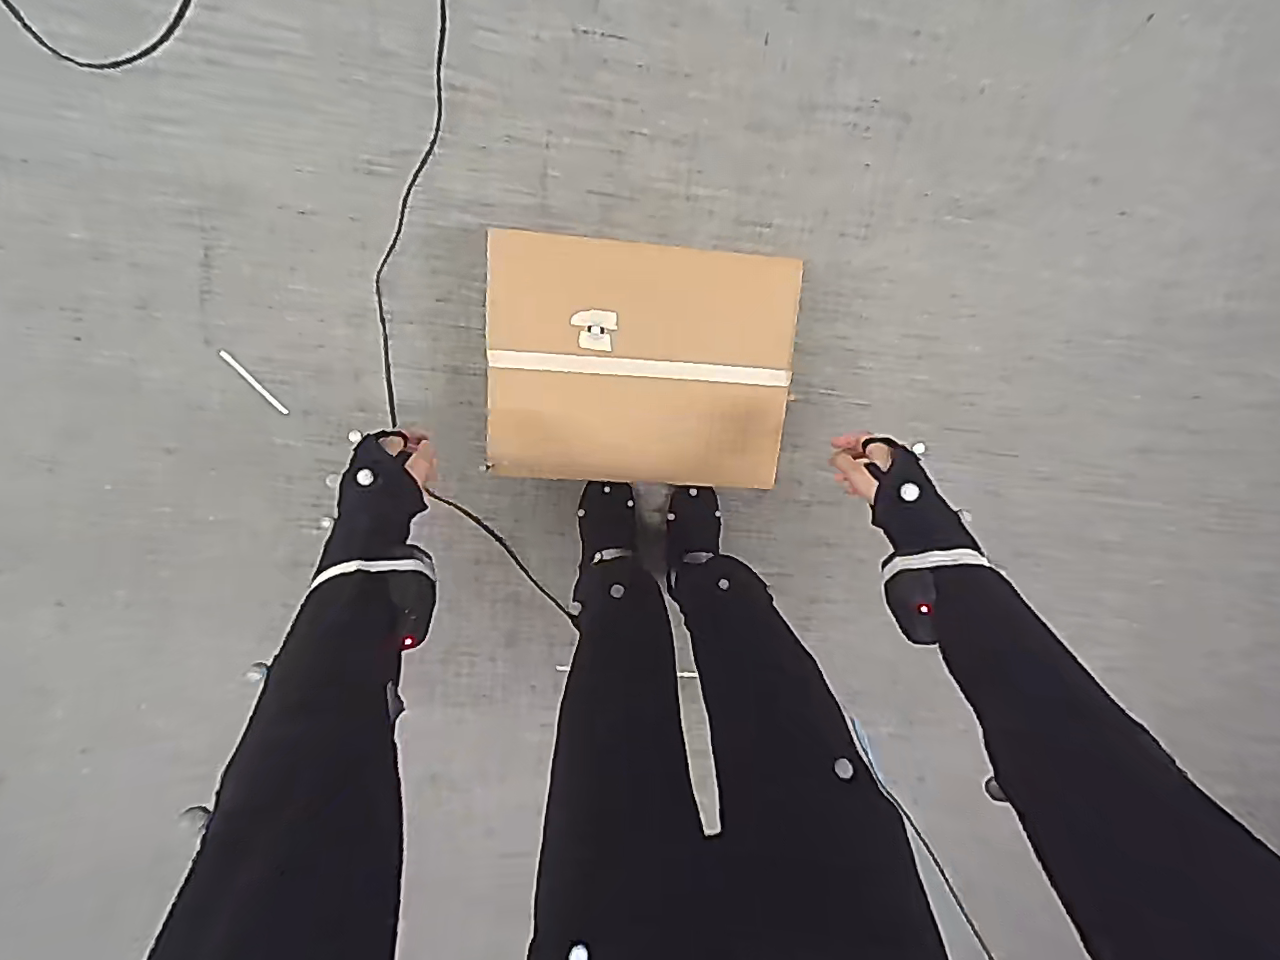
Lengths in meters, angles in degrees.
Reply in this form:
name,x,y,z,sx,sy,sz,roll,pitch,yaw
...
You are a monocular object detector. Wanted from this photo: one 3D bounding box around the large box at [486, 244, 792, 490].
name,x,y,z,sx,sy,sz,roll,pitch,yaw
large box,-0.014,-0.178,0.871,0.408,0.320,0.320,2,103,-6
